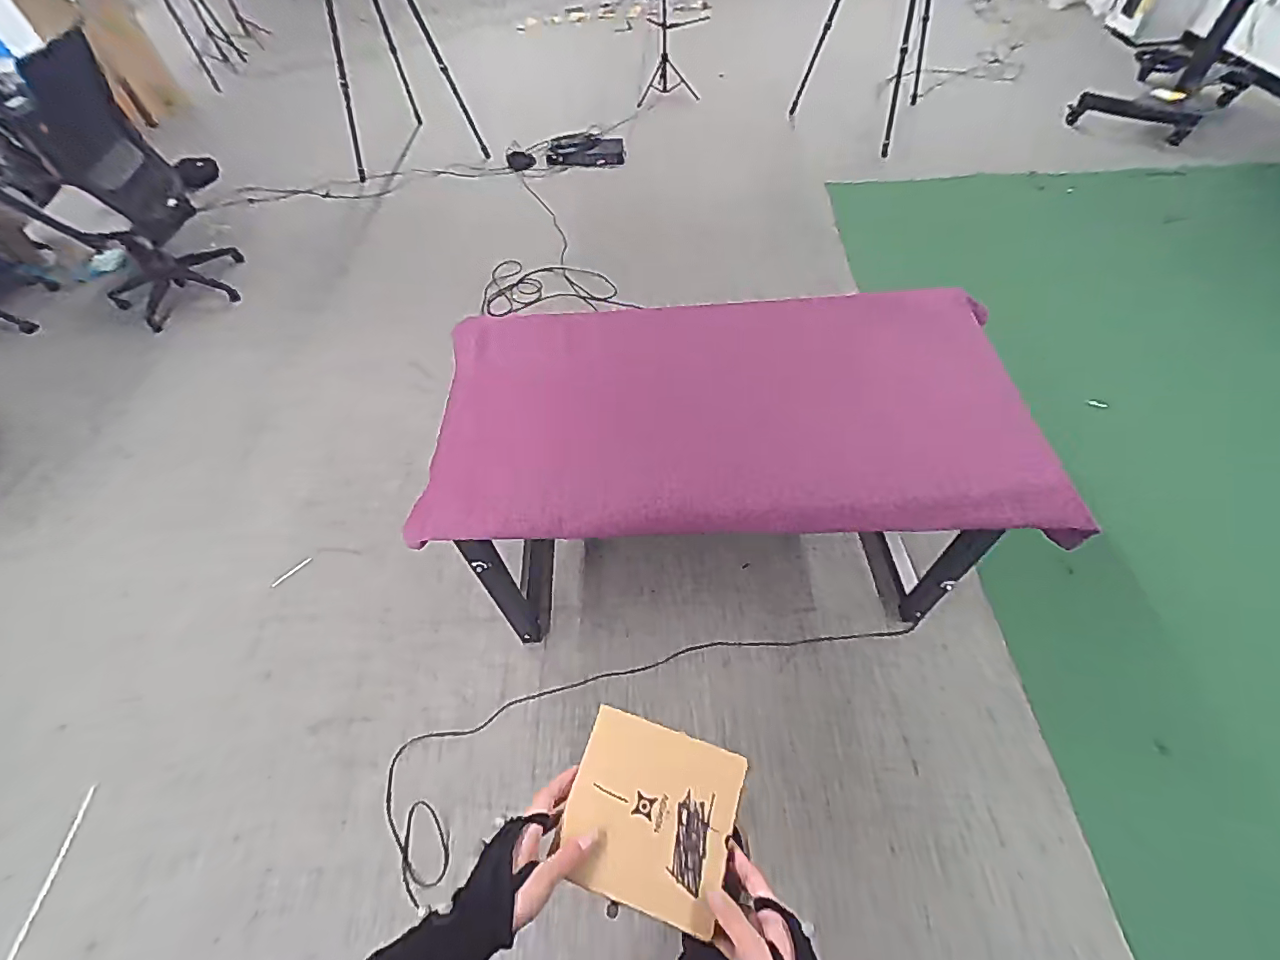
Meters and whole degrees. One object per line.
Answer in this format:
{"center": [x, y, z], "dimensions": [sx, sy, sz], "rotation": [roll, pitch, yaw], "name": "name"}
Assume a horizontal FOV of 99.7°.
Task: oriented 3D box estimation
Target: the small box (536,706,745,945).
{"center": [0.003, 0.387, 0.617], "dimensions": [0.179, 0.176, 0.168], "rotation": [17, 54, 9], "name": "small box"}
